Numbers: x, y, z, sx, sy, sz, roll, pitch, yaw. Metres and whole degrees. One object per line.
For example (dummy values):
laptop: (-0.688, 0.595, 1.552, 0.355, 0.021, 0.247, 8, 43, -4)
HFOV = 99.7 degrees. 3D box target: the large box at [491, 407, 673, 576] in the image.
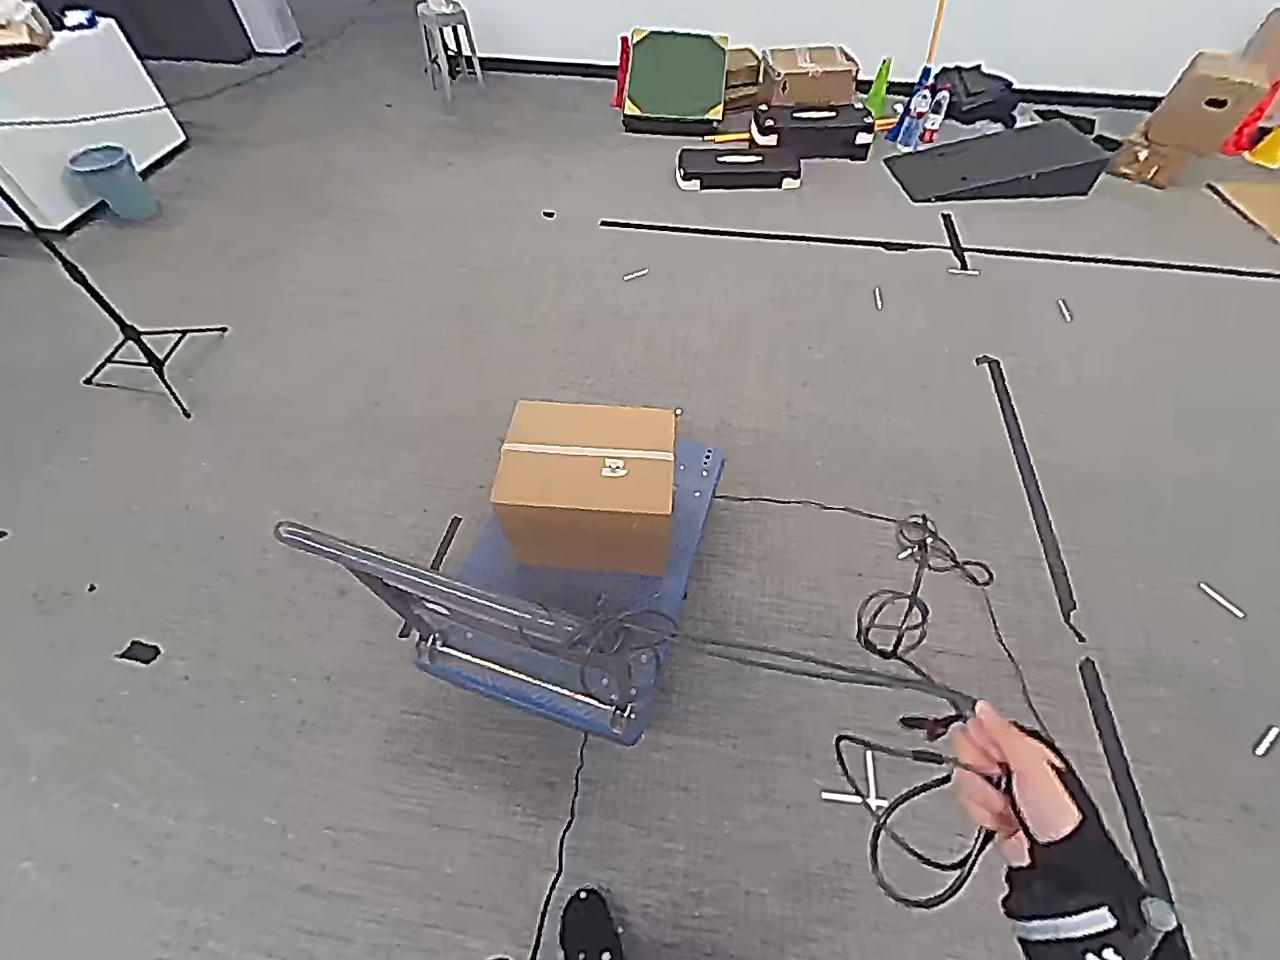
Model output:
large box: (-0.128, 0.036, 1.386, 0.408, 0.320, 0.320, 4, 55, 2)
